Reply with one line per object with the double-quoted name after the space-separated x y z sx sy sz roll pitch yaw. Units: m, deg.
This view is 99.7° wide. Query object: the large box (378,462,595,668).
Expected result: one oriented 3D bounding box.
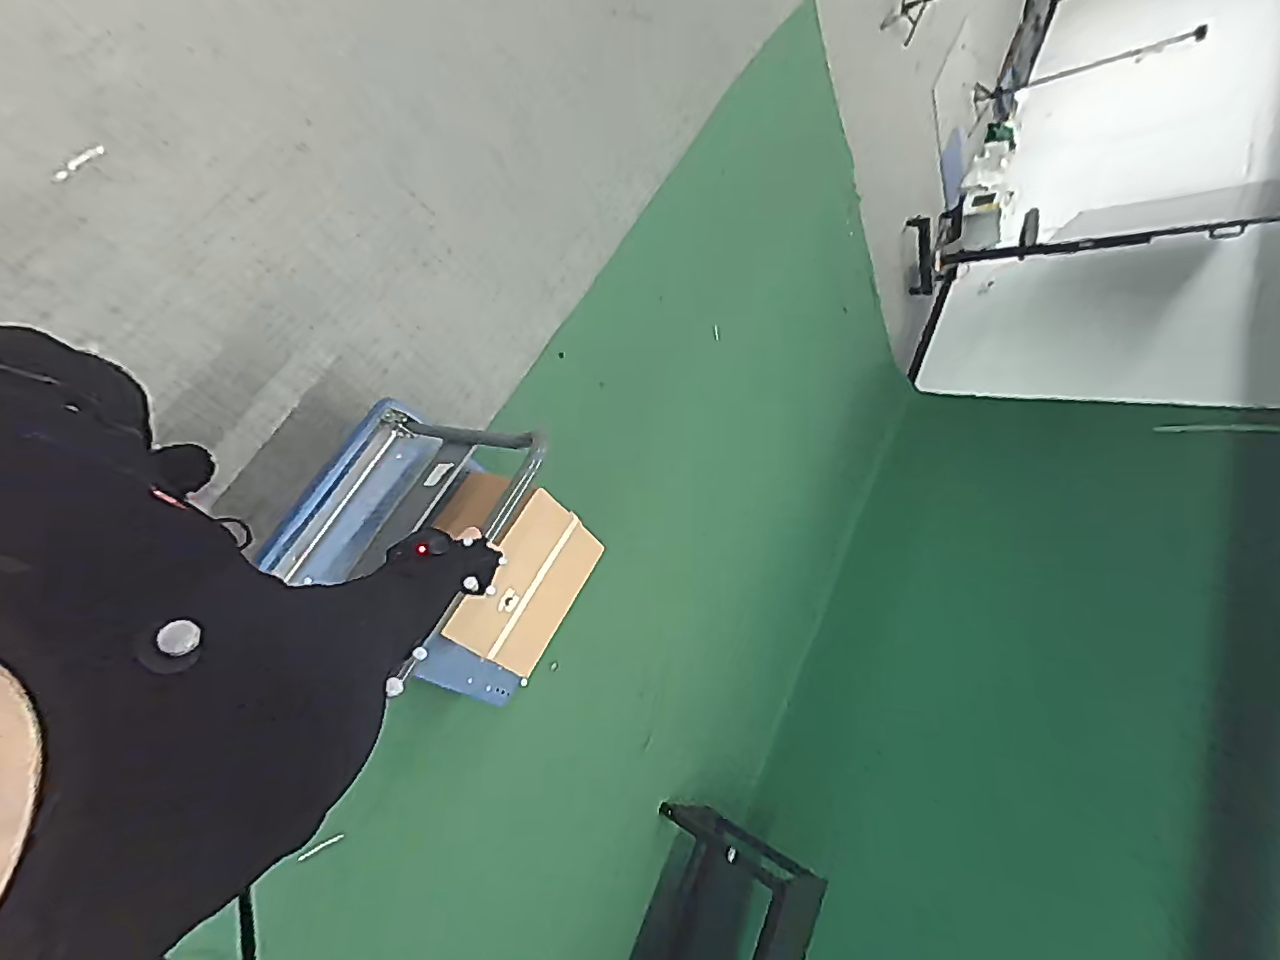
-0.399 0.213 1.447 0.320 0.320 0.408 50 63 -42 "large box"
